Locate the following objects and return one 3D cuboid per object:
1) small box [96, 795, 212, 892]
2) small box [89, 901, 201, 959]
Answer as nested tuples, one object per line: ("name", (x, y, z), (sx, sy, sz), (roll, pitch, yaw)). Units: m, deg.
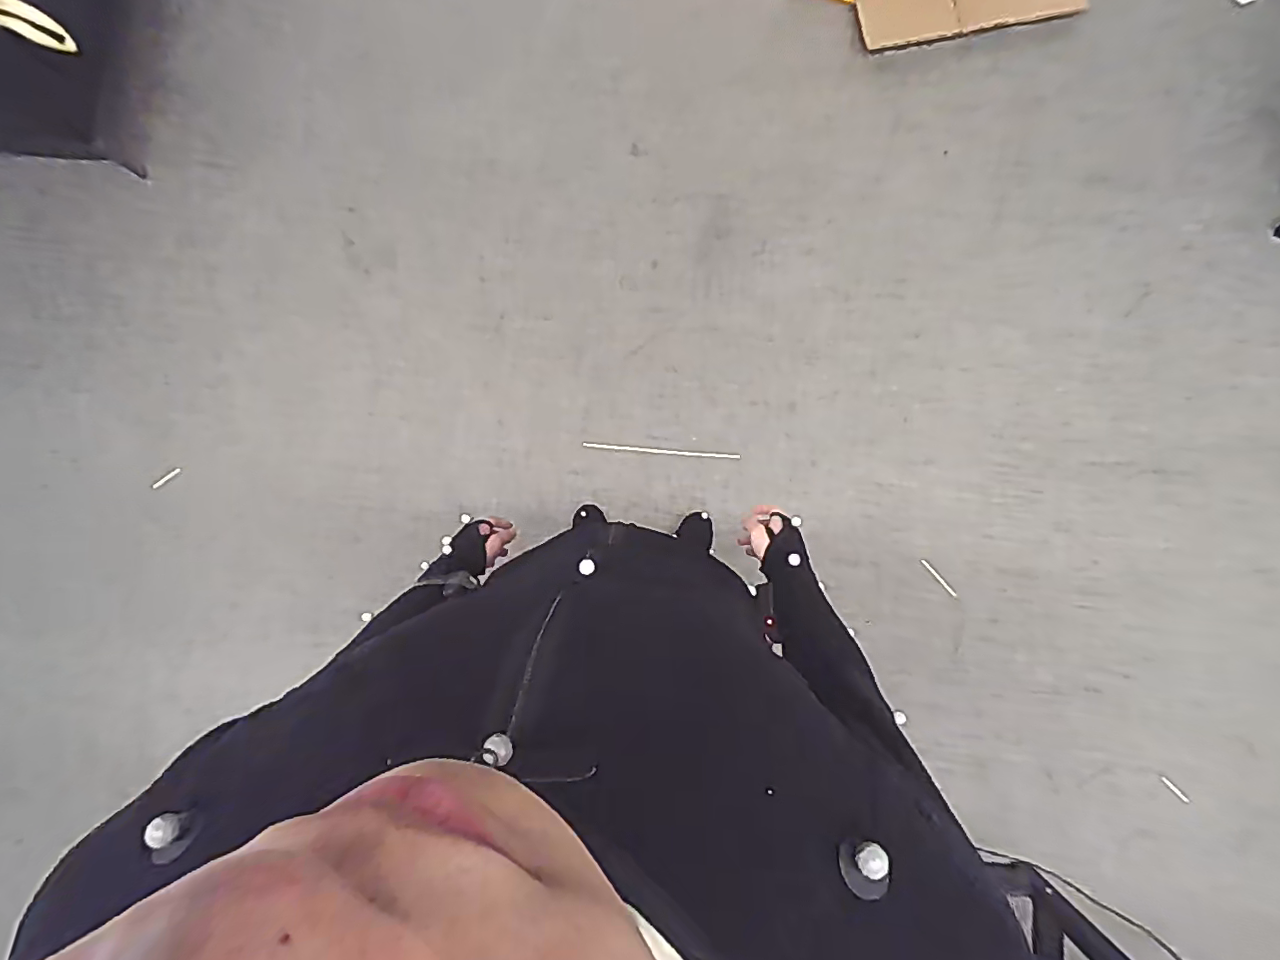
("small box", (-1.417, 1.054, 1.583), (0.179, 0.176, 0.168), (7, 87, 3))
("small box", (-1.438, 1.368, 1.569), (0.179, 0.176, 0.168), (4, 87, 2))
